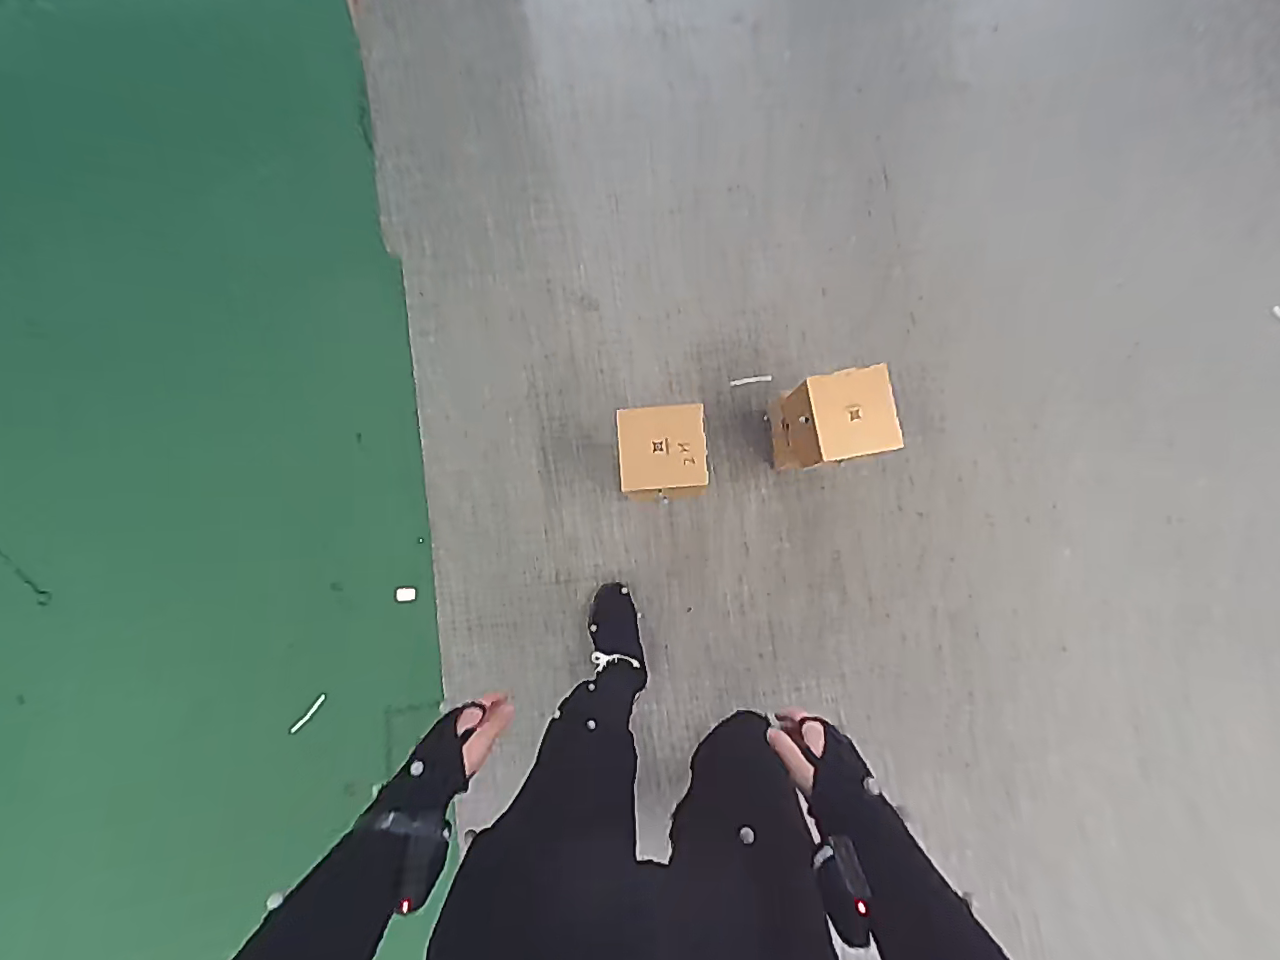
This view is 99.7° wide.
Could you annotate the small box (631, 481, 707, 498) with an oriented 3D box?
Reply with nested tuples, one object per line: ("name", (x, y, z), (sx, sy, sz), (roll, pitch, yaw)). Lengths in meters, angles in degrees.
("small box", (0.059, -0.049, 1.307), (0.179, 0.176, 0.168), (-6, 84, 0))

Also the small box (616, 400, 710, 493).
("small box", (0.048, -0.064, 1.143), (0.179, 0.176, 0.168), (-5, 85, 0))

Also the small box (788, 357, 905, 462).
("small box", (0.427, -0.138, 1.143), (0.168, 0.176, 0.179), (-11, 84, 0))

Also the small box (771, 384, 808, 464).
("small box", (0.423, -0.137, 1.306), (0.179, 0.176, 0.168), (-7, 84, 0))
